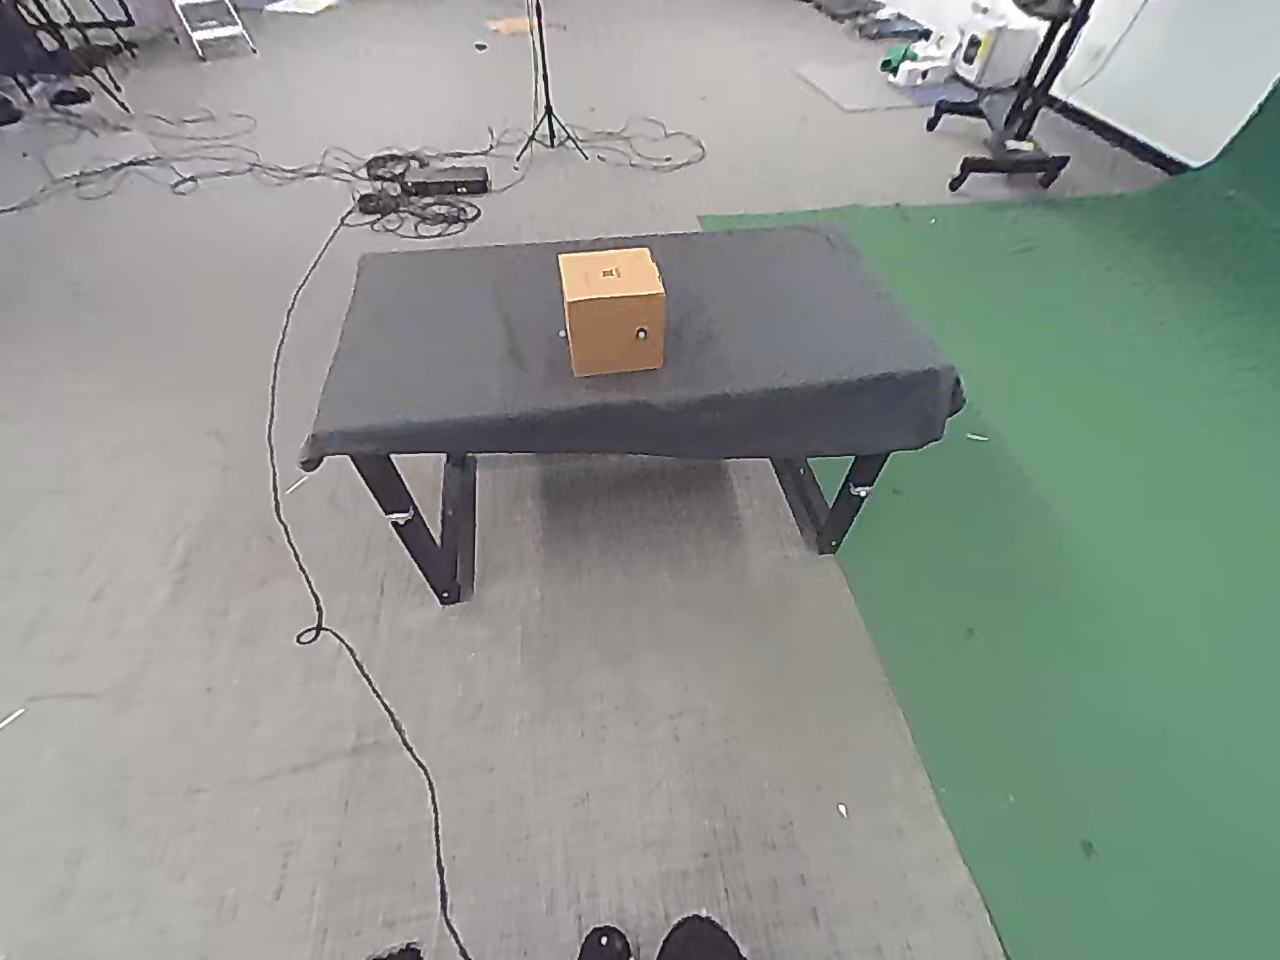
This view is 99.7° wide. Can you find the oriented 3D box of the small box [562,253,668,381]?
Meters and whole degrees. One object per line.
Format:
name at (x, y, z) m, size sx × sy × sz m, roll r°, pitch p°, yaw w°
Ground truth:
small box at (-0.049, -0.314, 1.048) m, size 0.179 × 0.176 × 0.168 m, roll -9°, pitch 50°, yaw -6°
